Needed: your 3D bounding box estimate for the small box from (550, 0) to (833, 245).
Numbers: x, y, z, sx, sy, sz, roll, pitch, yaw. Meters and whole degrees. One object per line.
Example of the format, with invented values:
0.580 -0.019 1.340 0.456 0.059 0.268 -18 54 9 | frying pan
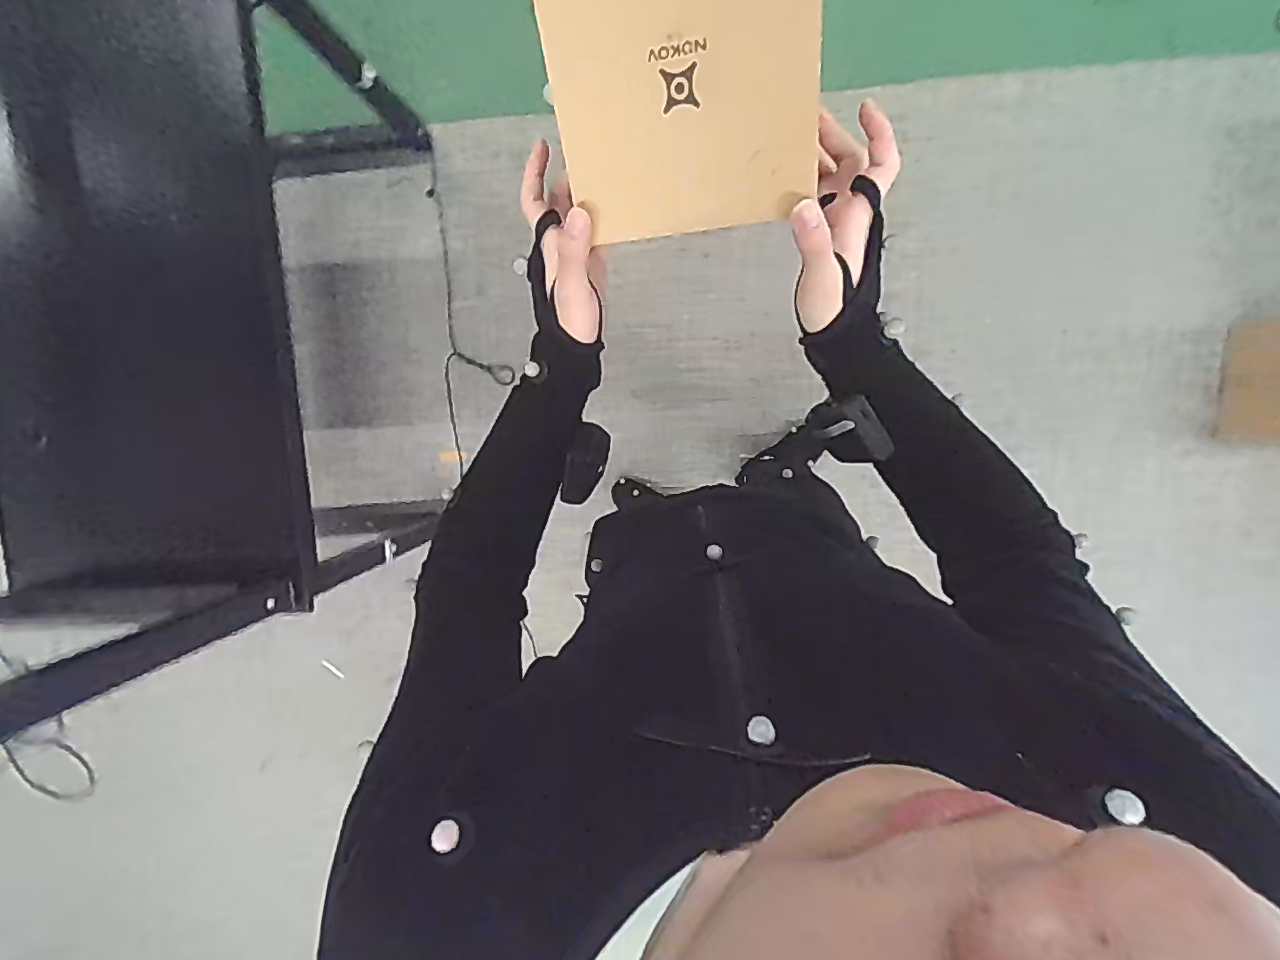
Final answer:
0.048 -0.289 0.396 0.168 0.176 0.179 -1 123 14 | small box
